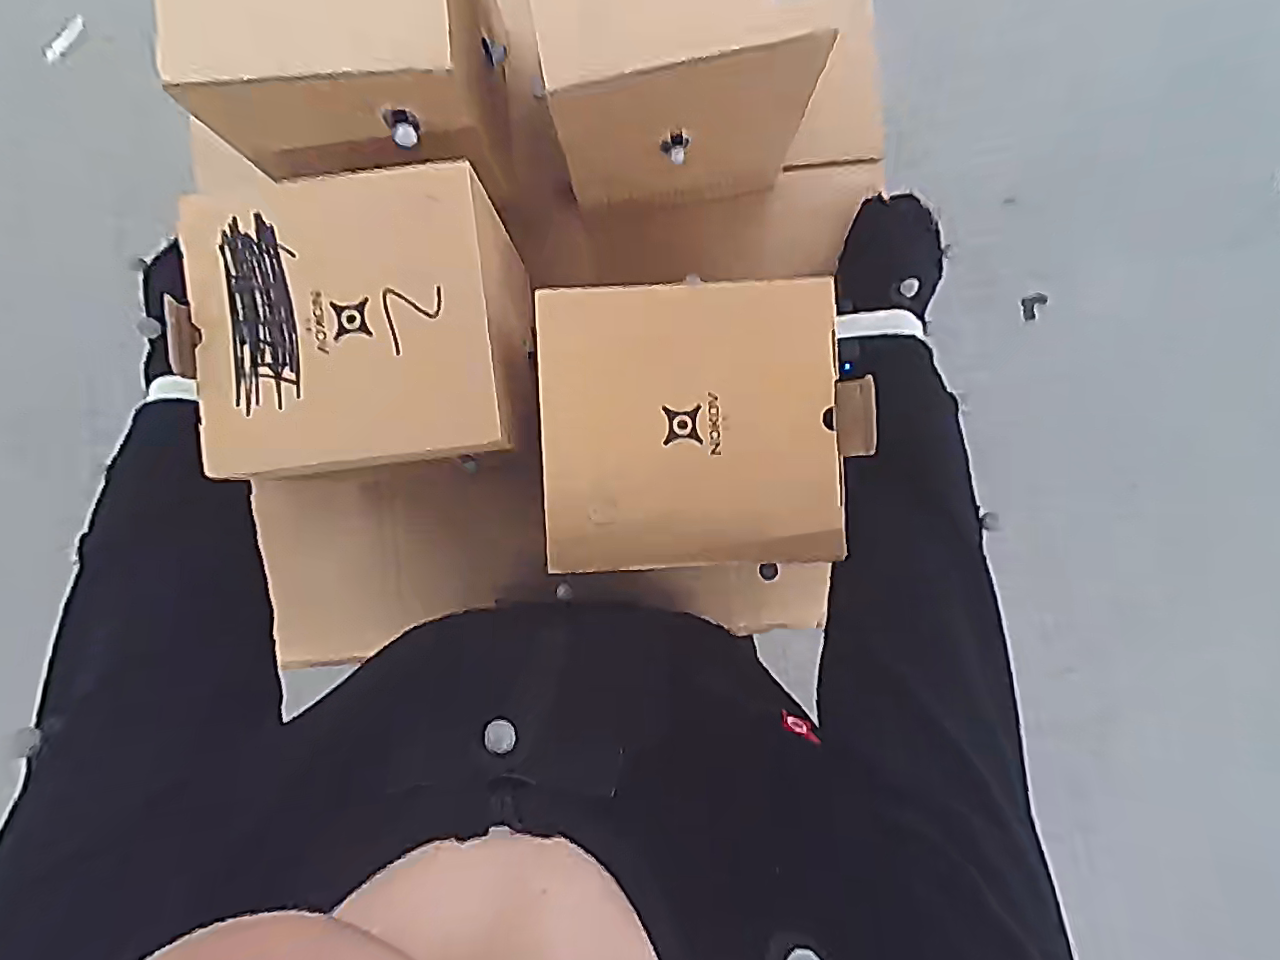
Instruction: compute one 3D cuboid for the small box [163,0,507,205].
[{"bbox_3d":[-0.203,-0.330,0.406,0.179,0.176,0.168,-3,90,1],"label":"small box"}]
